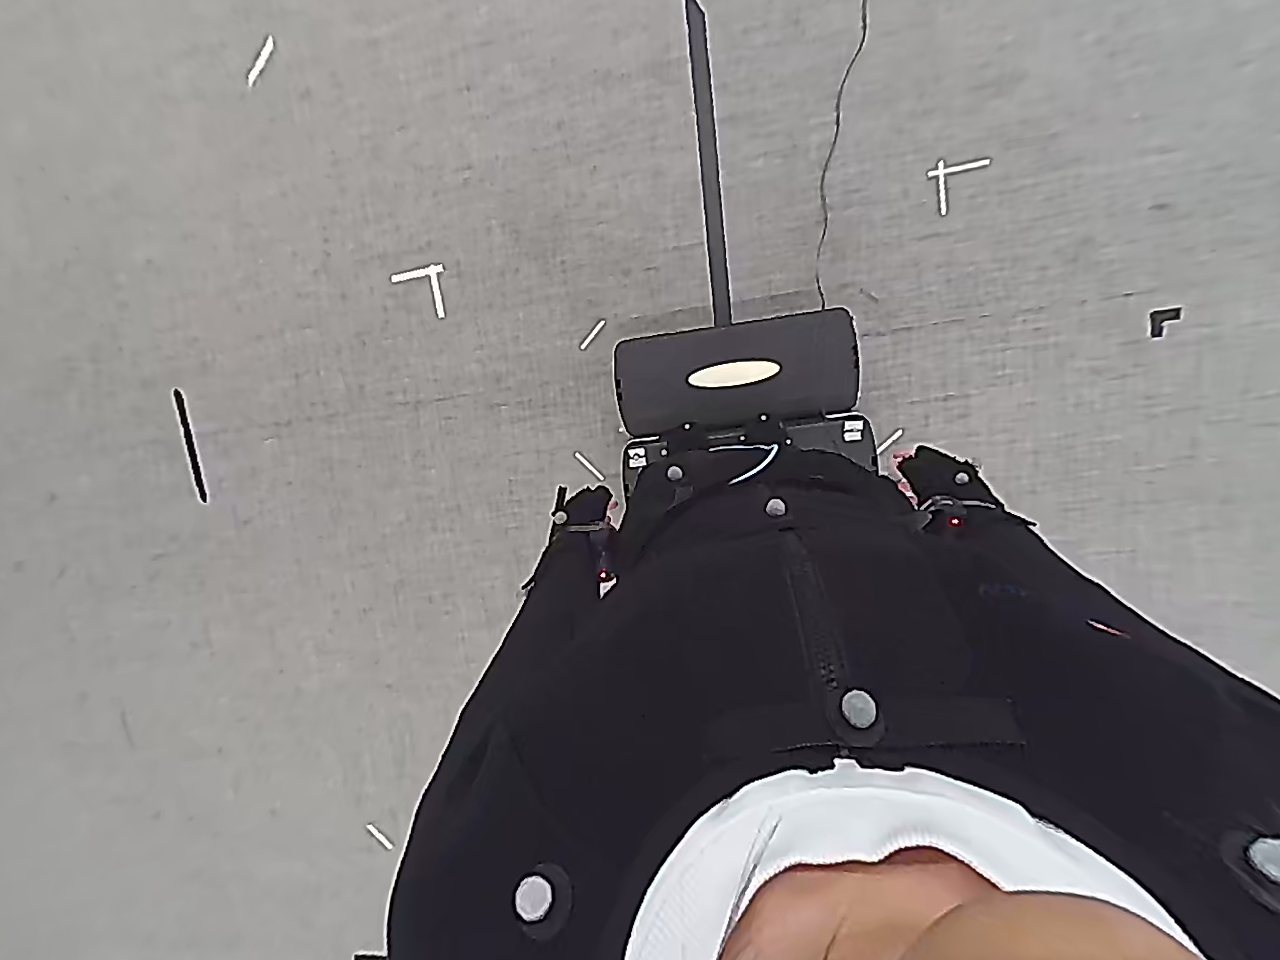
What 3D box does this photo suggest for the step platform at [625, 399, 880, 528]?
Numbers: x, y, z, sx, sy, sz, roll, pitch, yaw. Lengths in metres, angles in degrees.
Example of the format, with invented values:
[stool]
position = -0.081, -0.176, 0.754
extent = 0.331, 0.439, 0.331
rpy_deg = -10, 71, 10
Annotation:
[step platform]
position = 0.300, -0.043, 1.518
extent = 0.684, 0.204, 0.286
rpy_deg = -7, 96, 10
